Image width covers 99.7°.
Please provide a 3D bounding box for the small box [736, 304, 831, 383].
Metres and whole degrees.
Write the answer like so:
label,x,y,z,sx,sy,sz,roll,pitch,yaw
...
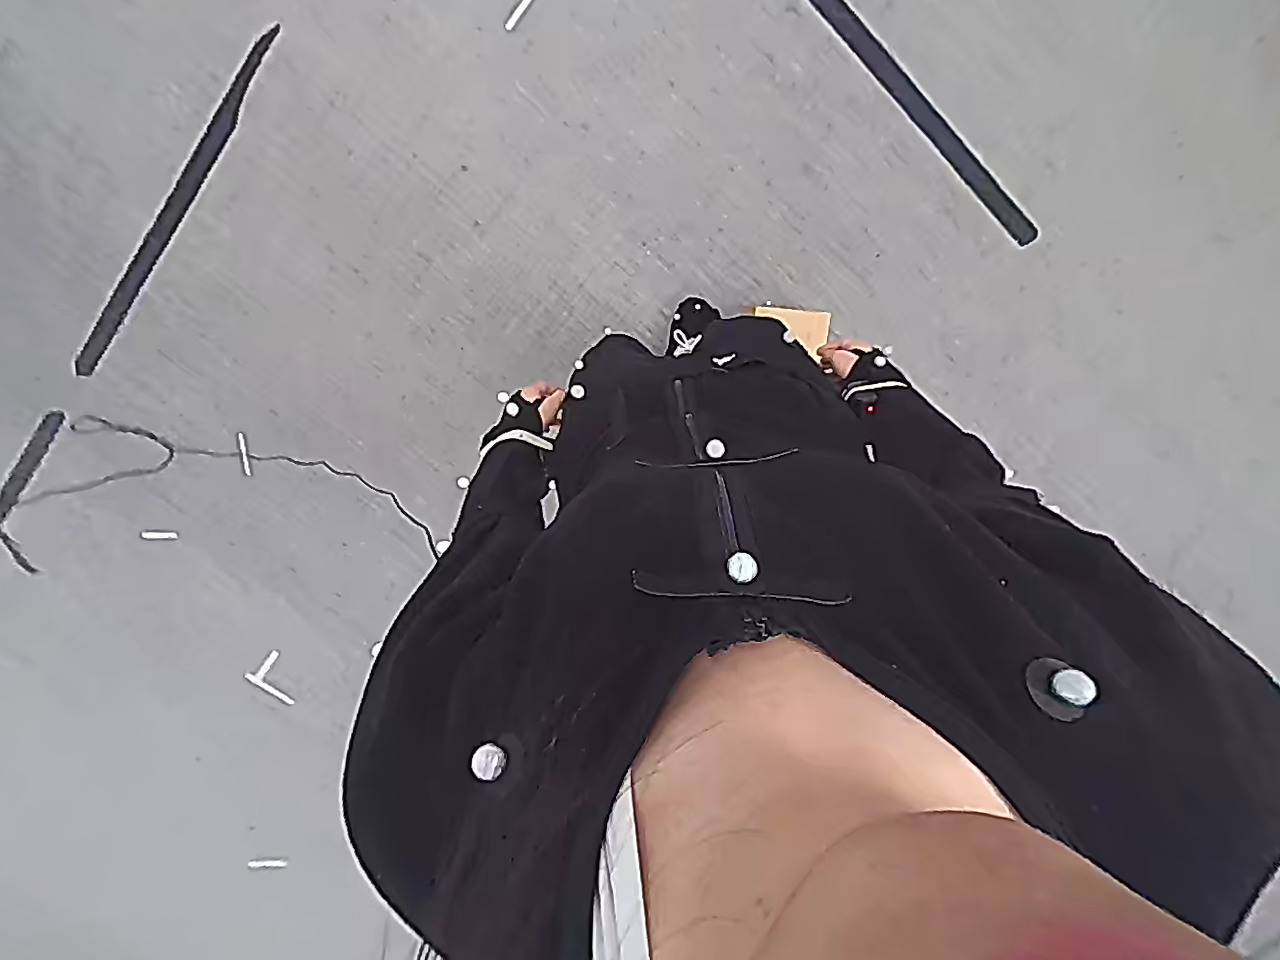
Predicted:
label,x,y,z,sx,sy,sz,roll,pitch,yaw
small box,0.340,-0.337,1.320,0.179,0.176,0.168,4,109,-1
